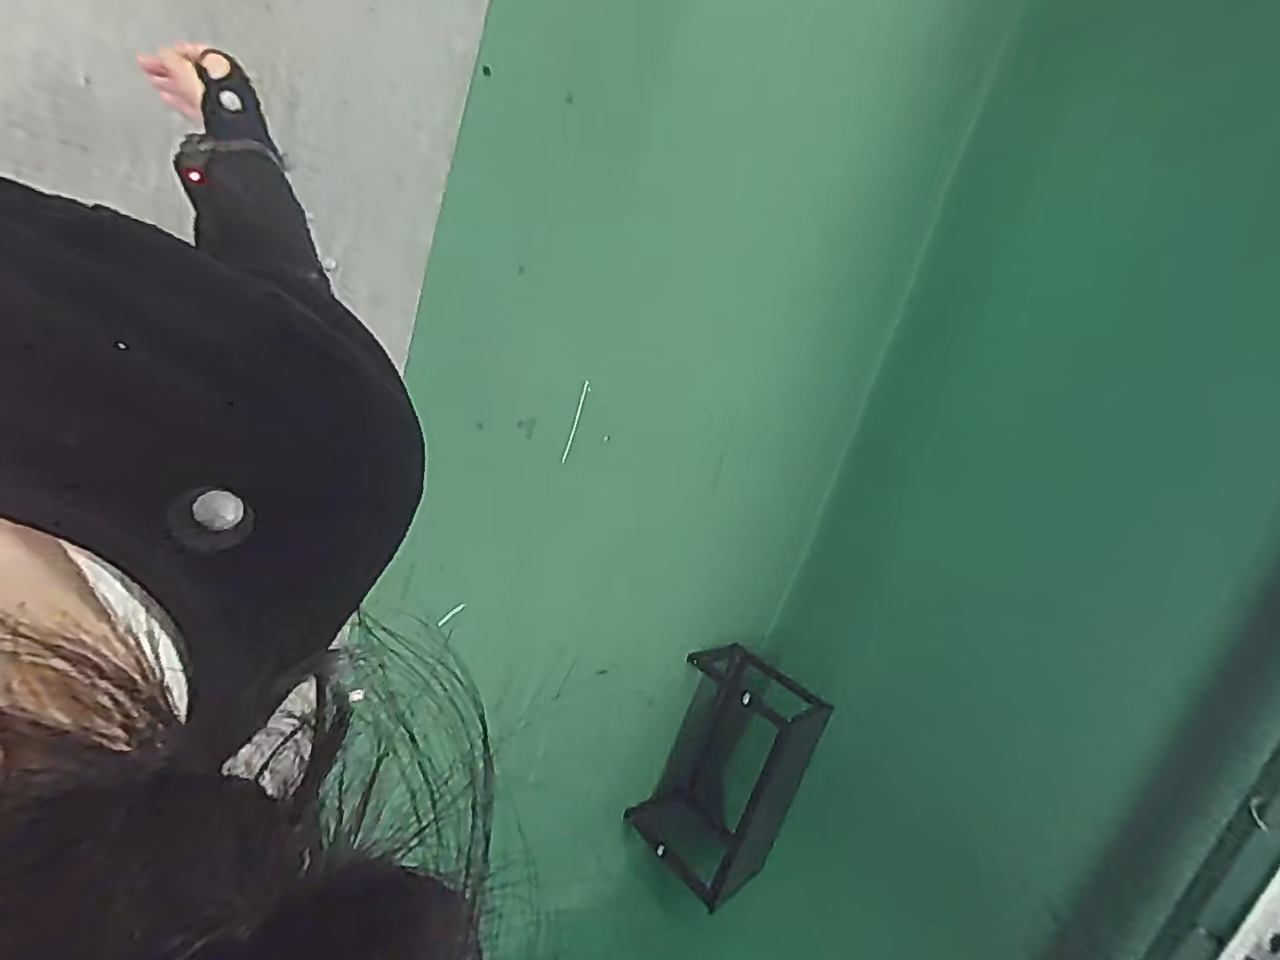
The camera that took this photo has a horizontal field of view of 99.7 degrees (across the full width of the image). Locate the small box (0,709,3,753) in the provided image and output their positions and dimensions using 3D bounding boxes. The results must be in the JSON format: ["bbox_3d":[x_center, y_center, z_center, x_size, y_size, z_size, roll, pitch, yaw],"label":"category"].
[{"bbox_3d":[-1.377,0.558,1.046,0.168,0.176,0.179,14,101,-50],"label":"small box"}]
